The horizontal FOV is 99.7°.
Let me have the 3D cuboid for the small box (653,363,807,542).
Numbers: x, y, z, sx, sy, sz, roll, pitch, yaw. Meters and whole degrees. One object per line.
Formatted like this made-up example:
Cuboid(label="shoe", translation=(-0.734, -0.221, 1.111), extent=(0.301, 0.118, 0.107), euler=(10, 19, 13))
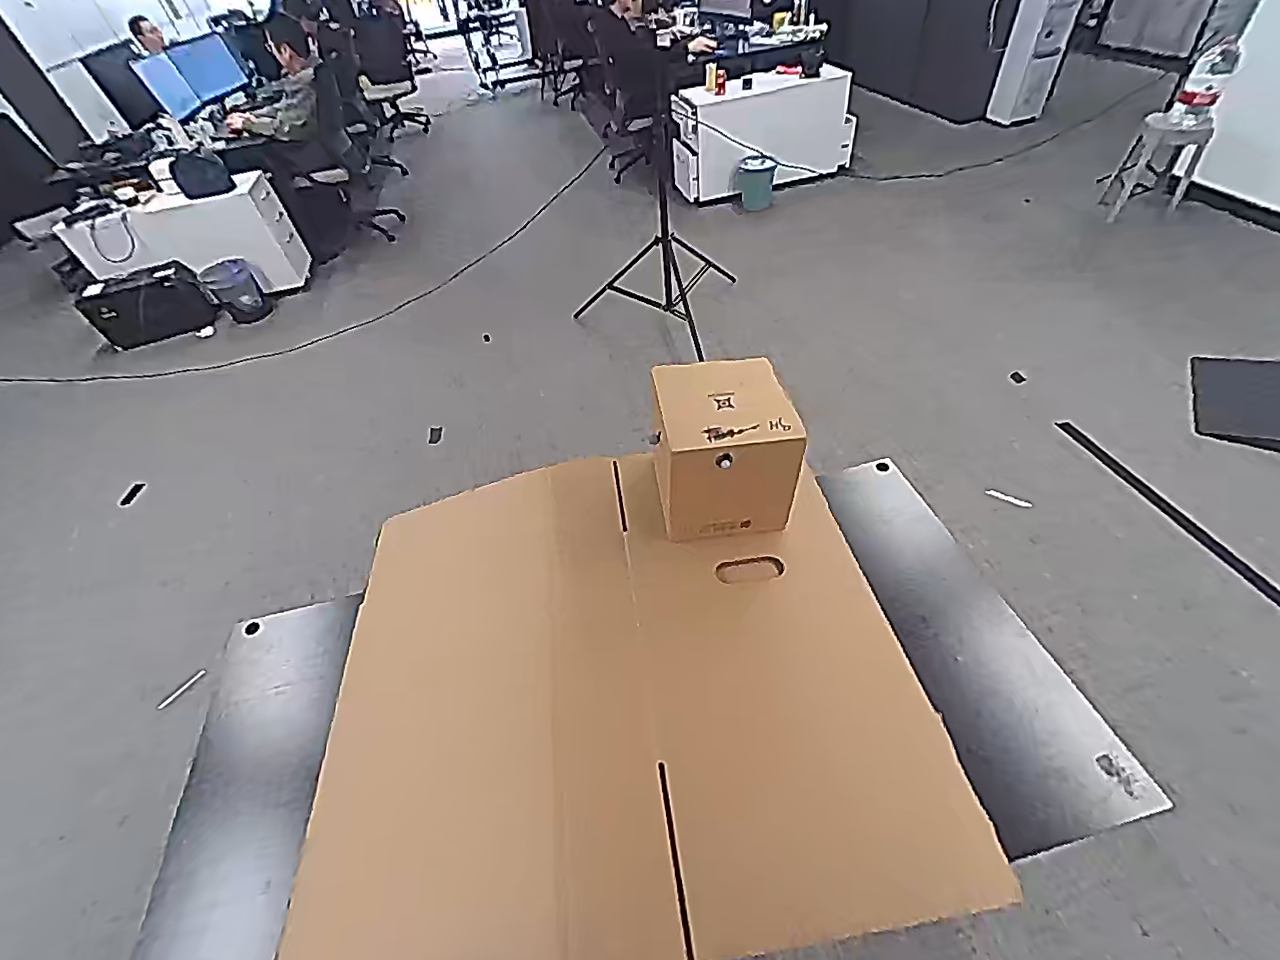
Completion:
Cuboid(label="small box", translation=(0.107, -0.038, 0.739), extent=(0.168, 0.176, 0.179), euler=(-6, 44, -3))
